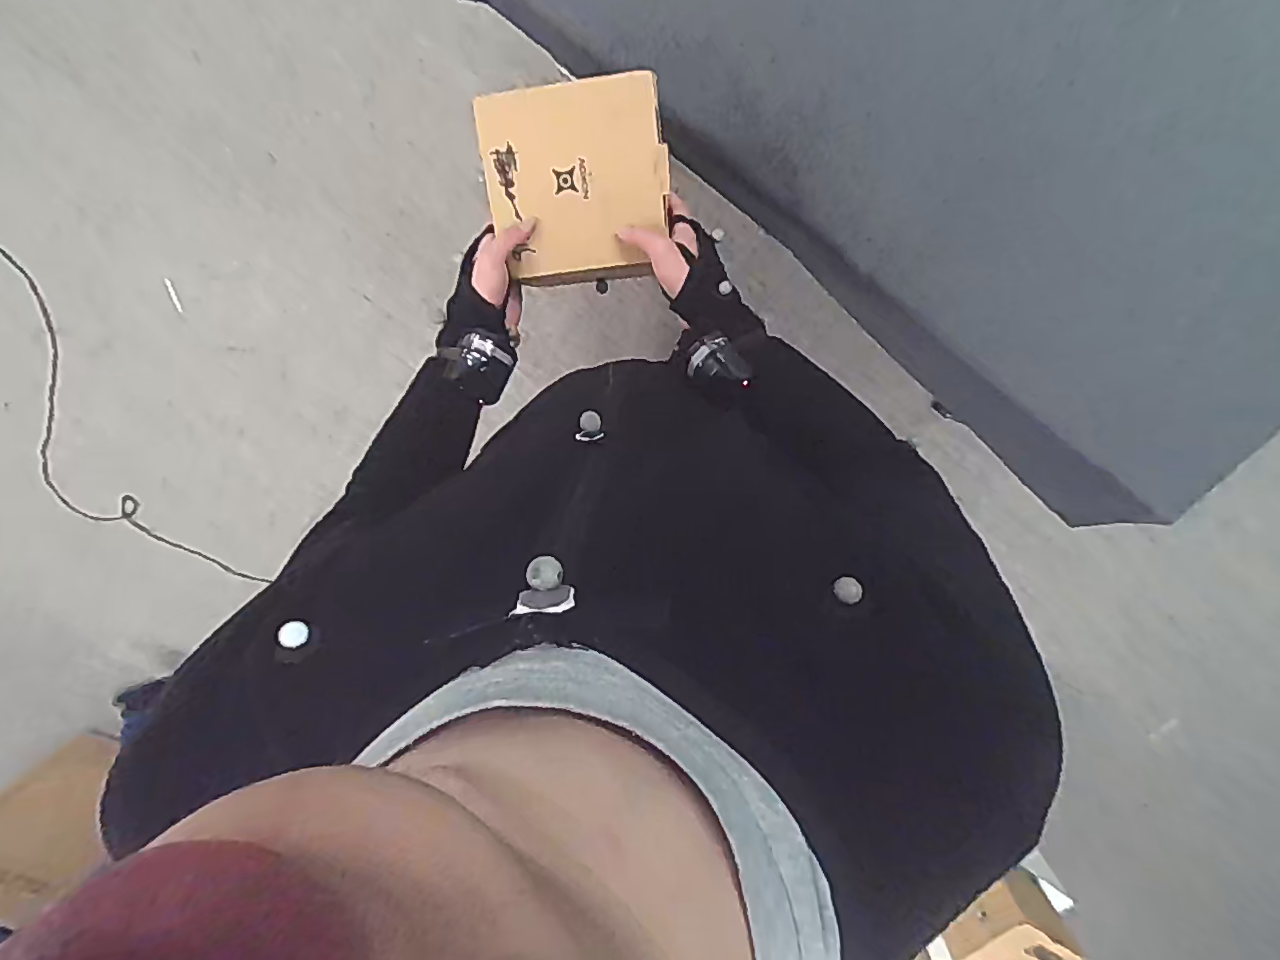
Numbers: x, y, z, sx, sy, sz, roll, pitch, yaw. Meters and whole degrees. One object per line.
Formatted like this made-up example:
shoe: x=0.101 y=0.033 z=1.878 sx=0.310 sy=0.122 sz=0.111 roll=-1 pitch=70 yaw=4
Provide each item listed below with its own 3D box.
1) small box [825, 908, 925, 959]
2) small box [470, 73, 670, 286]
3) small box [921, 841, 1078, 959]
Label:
small box: x=0.536 y=1.111 z=1.197 sx=0.168 sy=0.176 sz=0.179 roll=39 pitch=105 yaw=-9
small box: x=-0.062 y=-0.311 z=0.596 sx=0.179 sy=0.176 sz=0.168 roll=-5 pitch=107 yaw=4
small box: x=0.722 y=0.894 z=1.111 sx=0.168 sy=0.176 sz=0.179 roll=36 pitch=109 yaw=-7
